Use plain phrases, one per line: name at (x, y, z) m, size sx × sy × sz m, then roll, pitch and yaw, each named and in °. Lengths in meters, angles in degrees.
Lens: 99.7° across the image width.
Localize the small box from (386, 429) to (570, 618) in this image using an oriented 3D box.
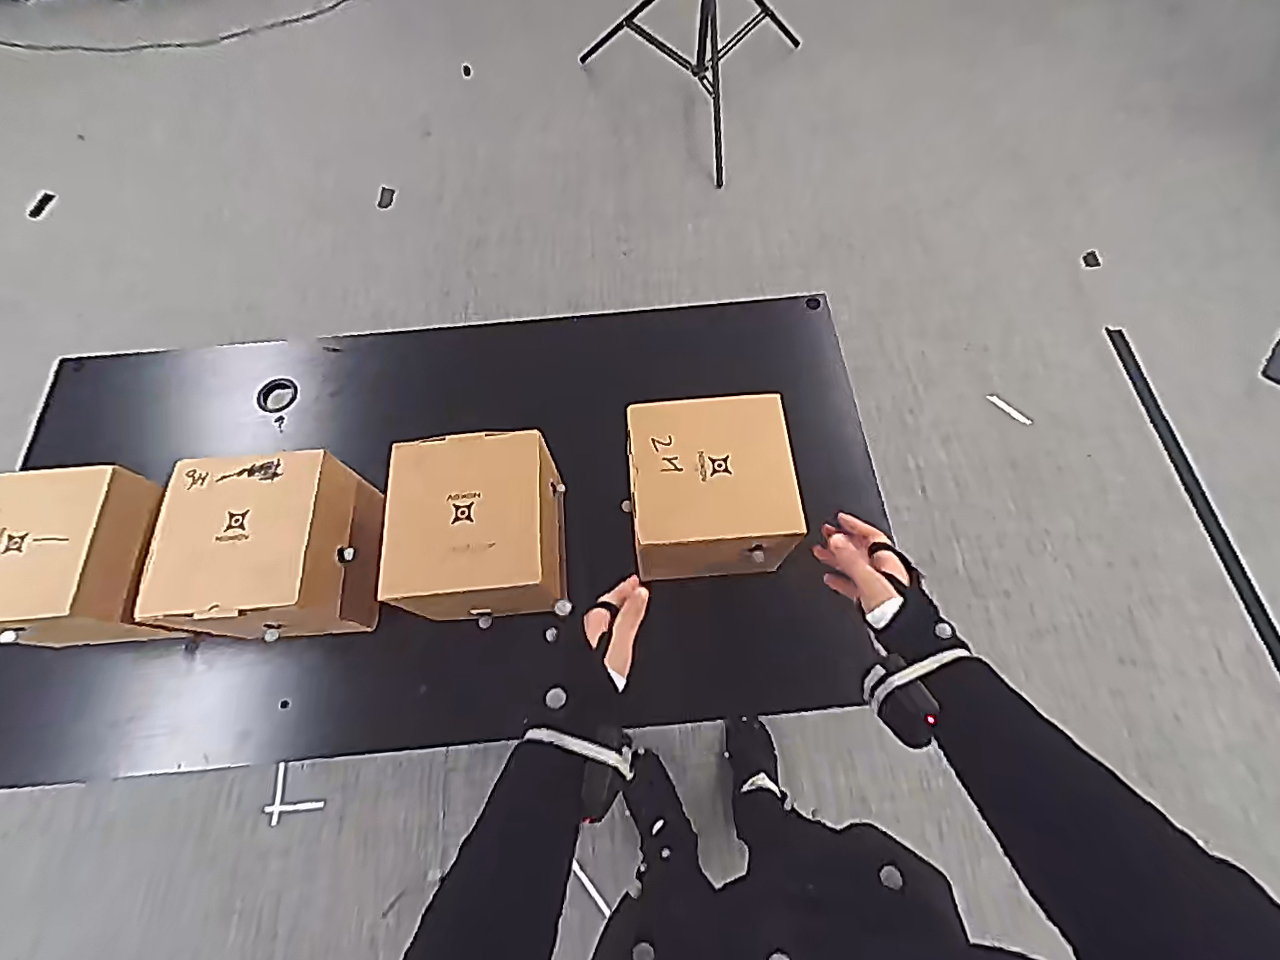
small box at (-0.179, 0.059, 0.648) m, size 0.168 × 0.176 × 0.179 m, roll -6°, pitch 69°, yaw 0°

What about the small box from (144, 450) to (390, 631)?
small box at (-0.417, 0.081, 0.642) m, size 0.168 × 0.176 × 0.179 m, roll -4°, pitch 68°, yaw -2°

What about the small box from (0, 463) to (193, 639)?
small box at (-0.649, 0.092, 0.642) m, size 0.179 × 0.176 × 0.168 m, roll -4°, pitch 68°, yaw -1°
